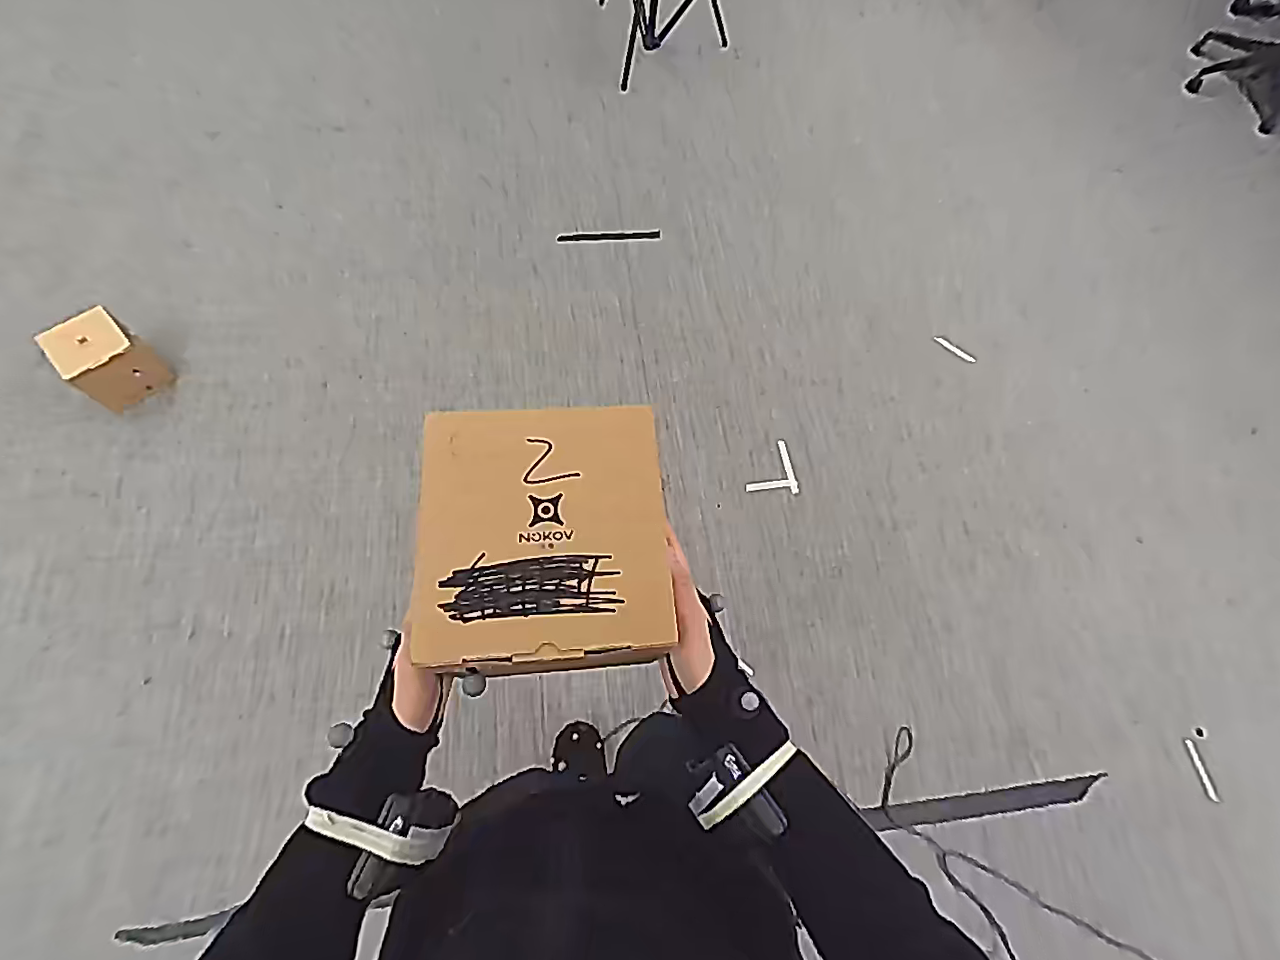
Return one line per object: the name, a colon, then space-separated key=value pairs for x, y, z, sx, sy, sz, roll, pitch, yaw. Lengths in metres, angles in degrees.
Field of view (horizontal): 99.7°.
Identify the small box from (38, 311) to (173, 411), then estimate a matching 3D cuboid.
small box: x=-1.432 y=-0.312 z=1.462 sx=0.168 sy=0.176 sz=0.179 roll=-41 pitch=75 yaw=-21
